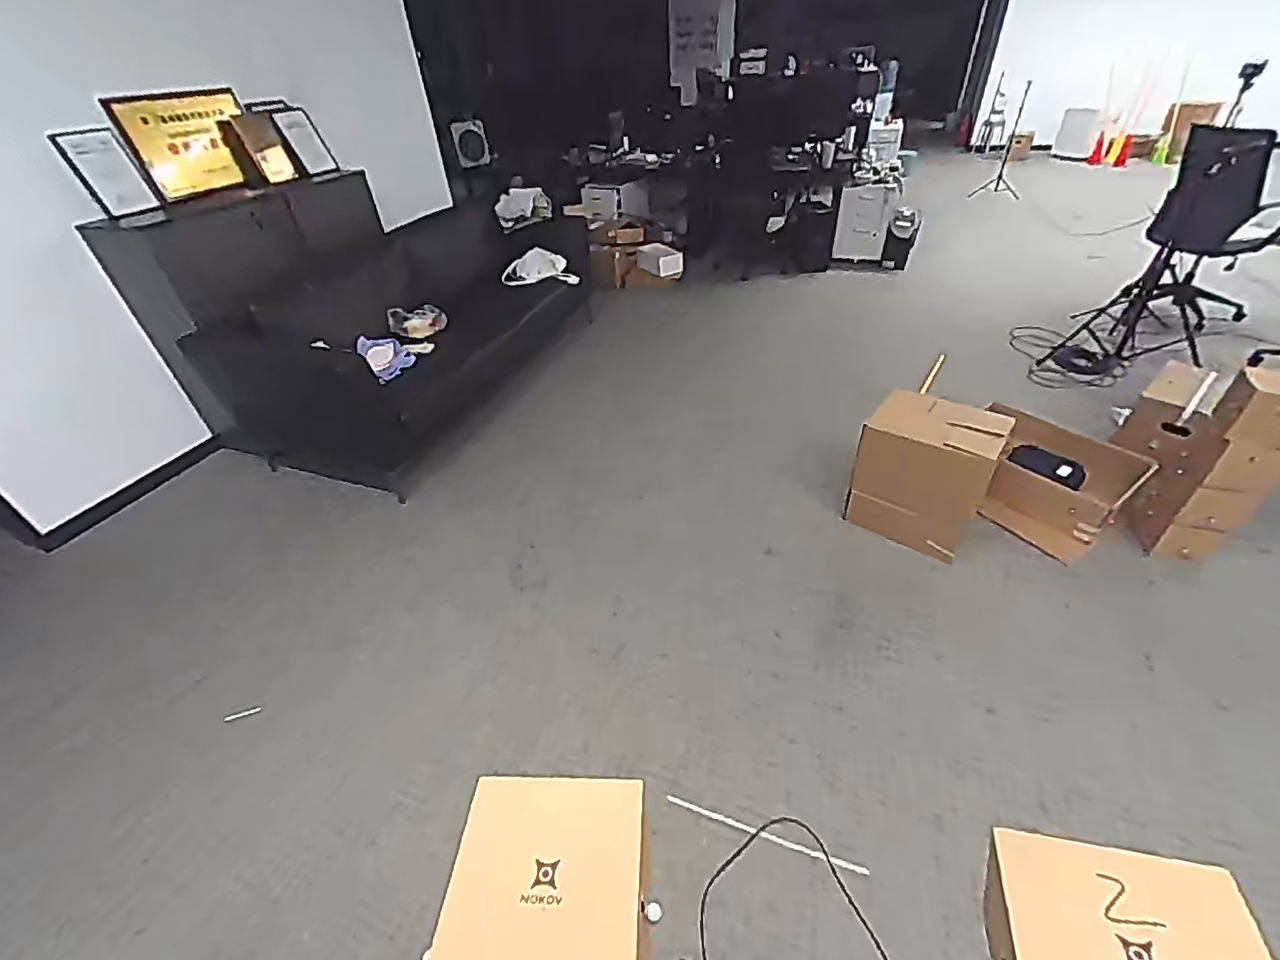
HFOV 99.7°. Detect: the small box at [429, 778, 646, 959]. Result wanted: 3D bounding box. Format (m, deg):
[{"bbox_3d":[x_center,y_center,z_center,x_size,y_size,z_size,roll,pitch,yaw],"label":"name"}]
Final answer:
[{"bbox_3d":[-0.081,0.418,0.516,0.168,0.176,0.179,0,34,3],"label":"small box"}]
